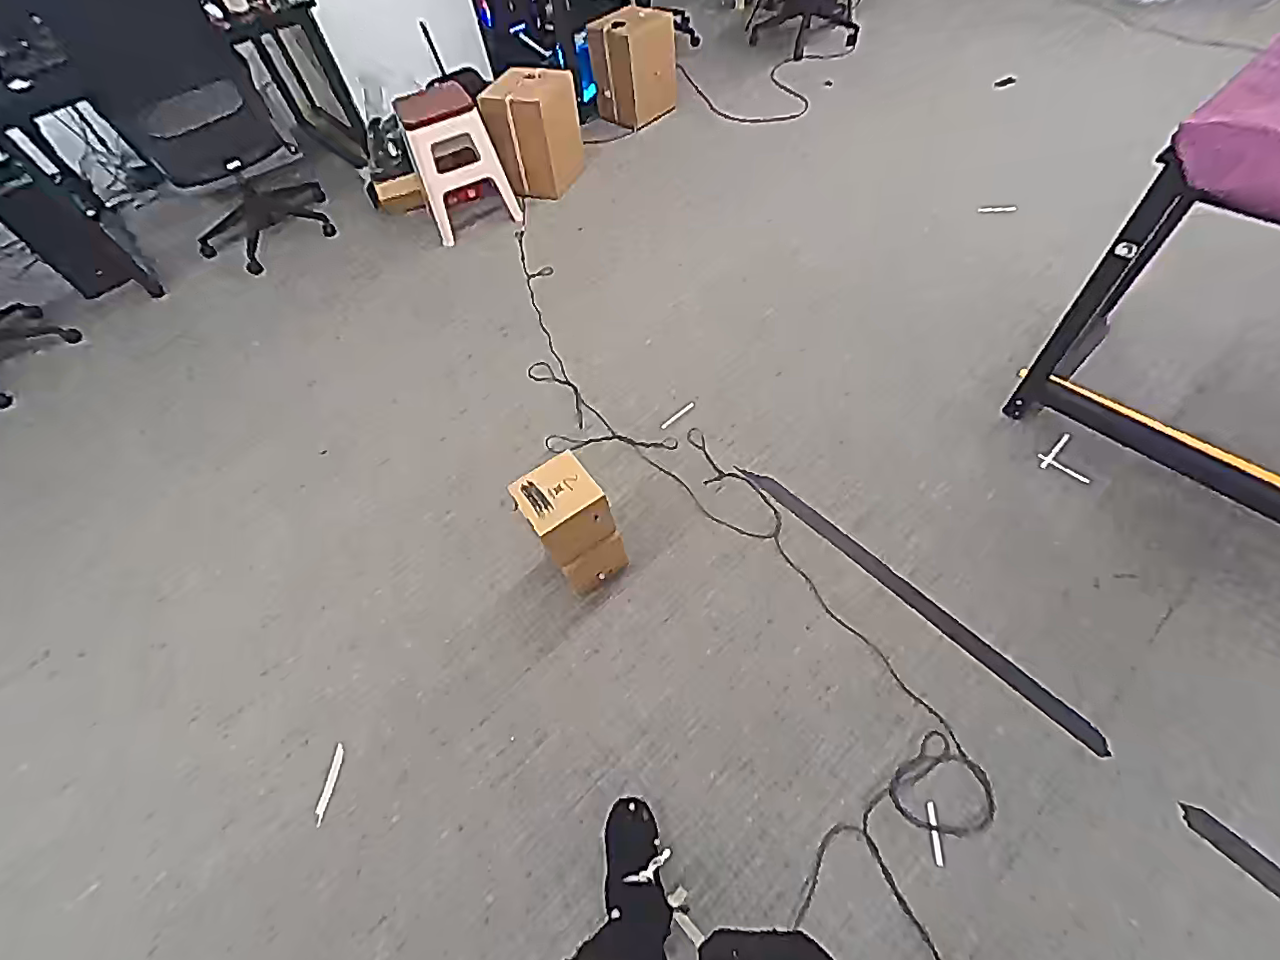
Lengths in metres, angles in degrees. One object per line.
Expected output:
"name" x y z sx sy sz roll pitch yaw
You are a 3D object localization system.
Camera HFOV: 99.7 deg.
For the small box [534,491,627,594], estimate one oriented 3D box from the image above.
"small box" -0.152 0.170 1.424 0.168 0.176 0.179 -33 60 -14
